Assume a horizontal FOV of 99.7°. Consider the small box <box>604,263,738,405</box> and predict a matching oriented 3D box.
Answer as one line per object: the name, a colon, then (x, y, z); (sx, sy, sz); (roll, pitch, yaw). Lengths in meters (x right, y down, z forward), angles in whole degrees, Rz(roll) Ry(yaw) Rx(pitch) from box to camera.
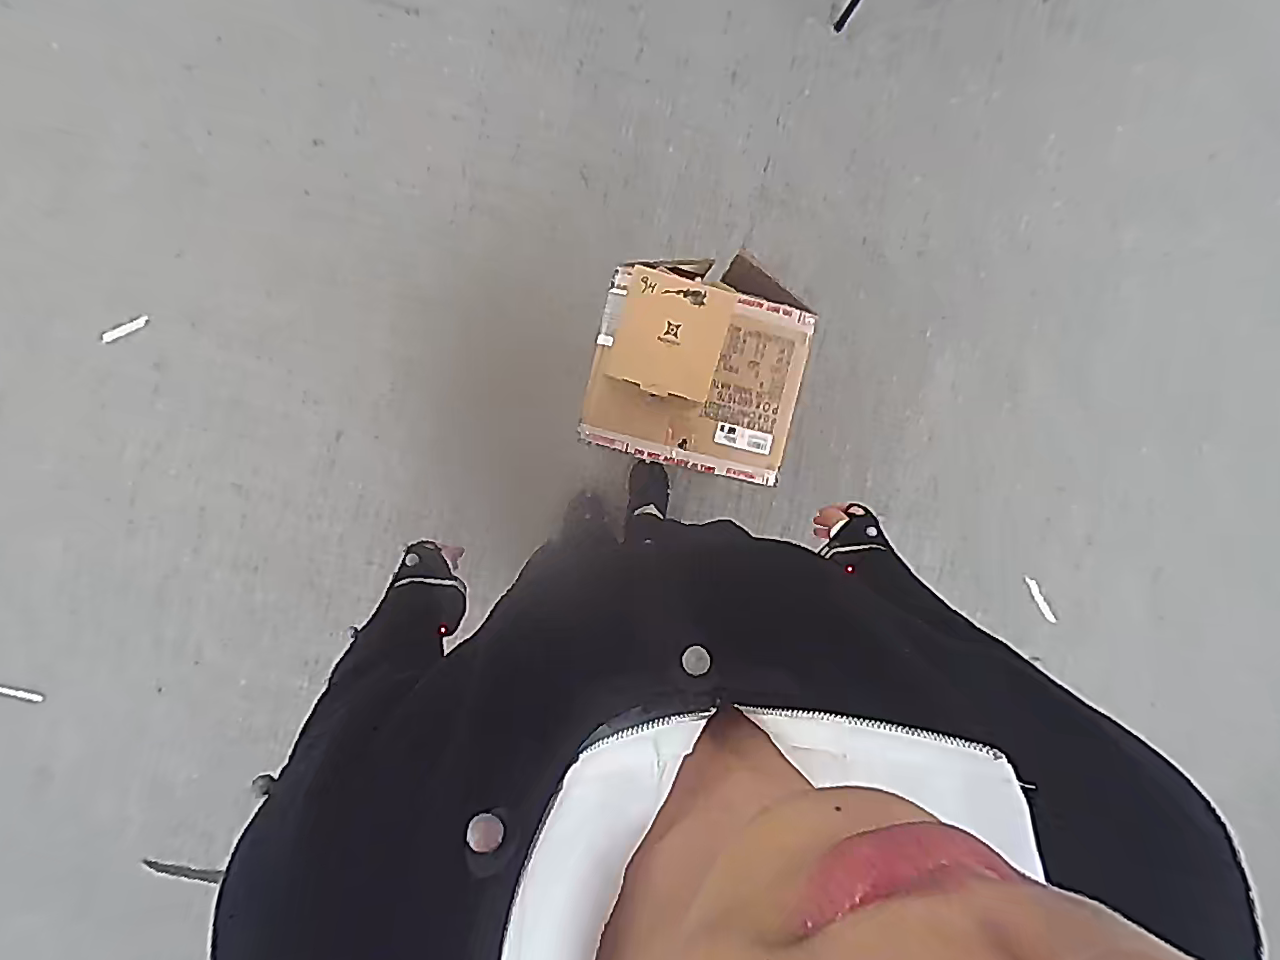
small box: (0.048, -0.229, 0.899); (0.168, 0.176, 0.179); (16, 95, -2)
